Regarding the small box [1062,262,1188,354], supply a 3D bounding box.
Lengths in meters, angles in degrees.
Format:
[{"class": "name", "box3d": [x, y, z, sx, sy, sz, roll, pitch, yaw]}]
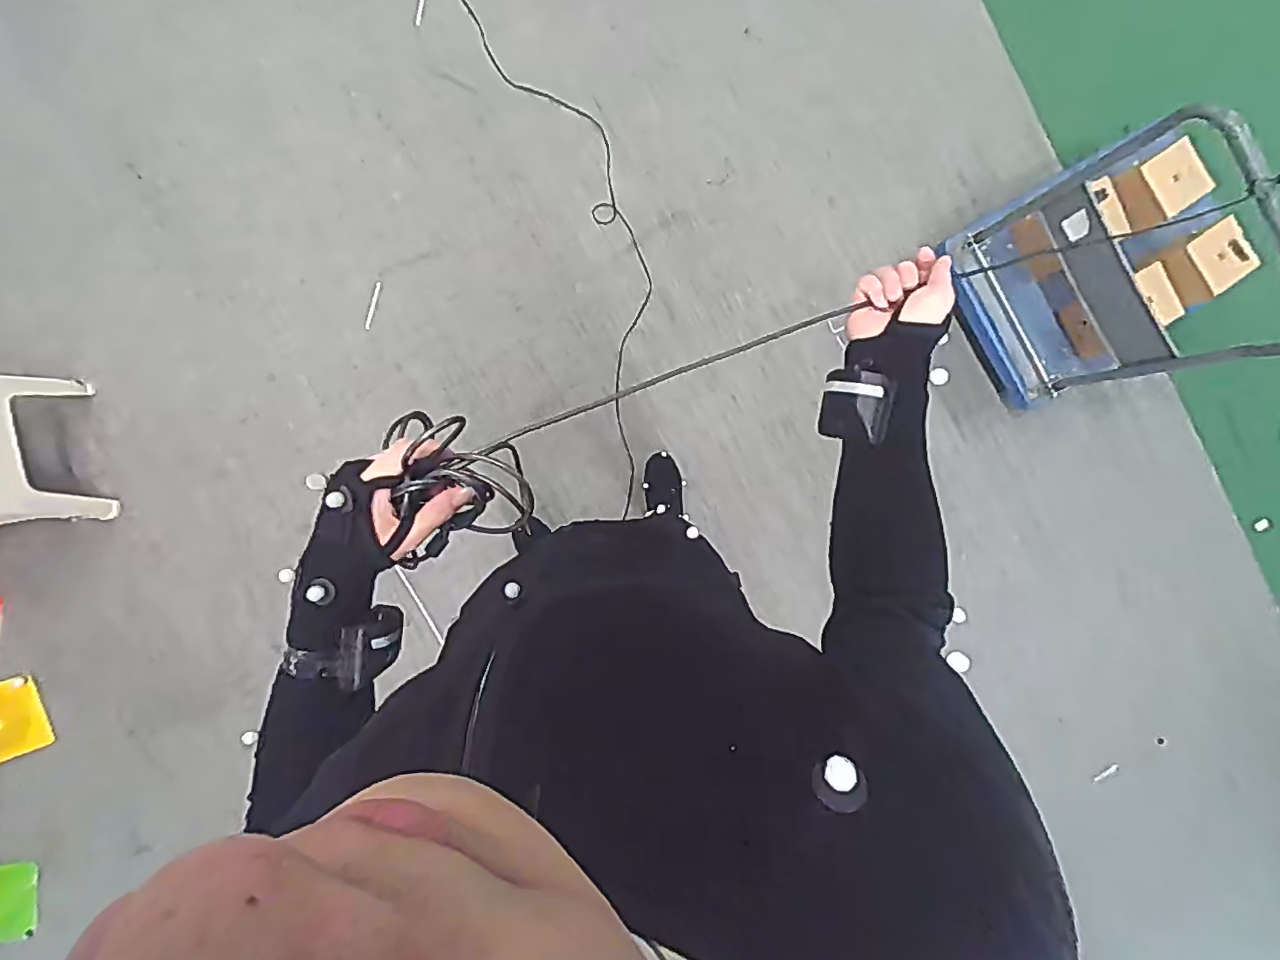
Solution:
[{"class": "small box", "box3d": [1.365, -0.480, 1.532, 0.179, 0.176, 0.168, -29, 92, -5]}]

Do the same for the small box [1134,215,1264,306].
[{"class": "small box", "box3d": [1.597, -0.616, 1.557, 0.179, 0.176, 0.168, -34, 92, -4]}]

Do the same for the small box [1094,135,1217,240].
[{"class": "small box", "box3d": [1.456, -0.823, 1.545, 0.179, 0.176, 0.168, -34, 94, -5]}]
